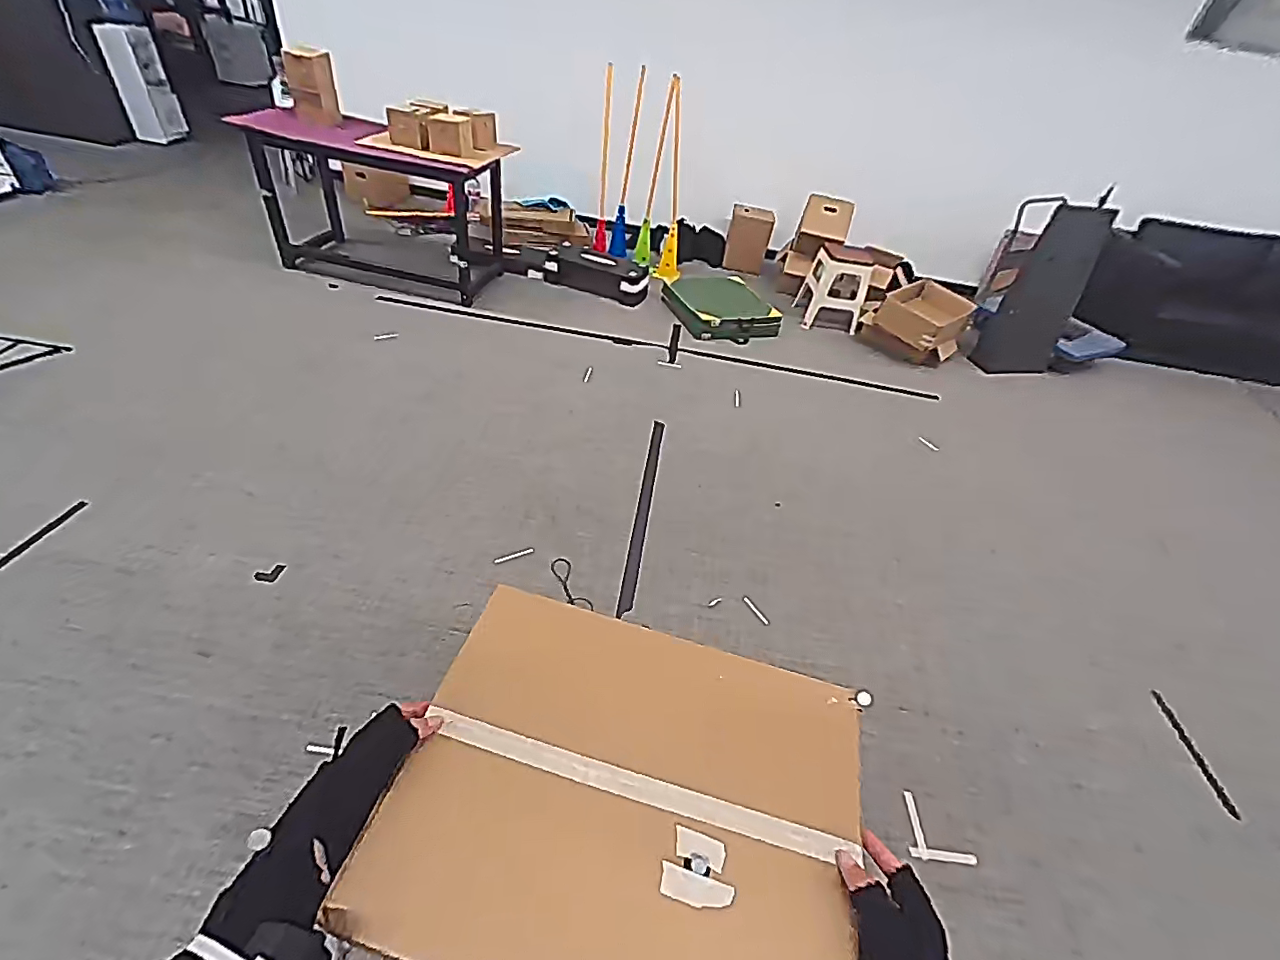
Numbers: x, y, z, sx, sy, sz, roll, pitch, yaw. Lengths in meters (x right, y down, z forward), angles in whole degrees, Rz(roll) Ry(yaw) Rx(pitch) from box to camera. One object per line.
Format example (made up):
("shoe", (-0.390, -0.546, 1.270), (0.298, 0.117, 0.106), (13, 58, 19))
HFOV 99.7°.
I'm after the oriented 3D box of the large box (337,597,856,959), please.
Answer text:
("large box", (-0.023, 0.387, 0.594), (0.408, 0.320, 0.320), (16, 45, 6))
